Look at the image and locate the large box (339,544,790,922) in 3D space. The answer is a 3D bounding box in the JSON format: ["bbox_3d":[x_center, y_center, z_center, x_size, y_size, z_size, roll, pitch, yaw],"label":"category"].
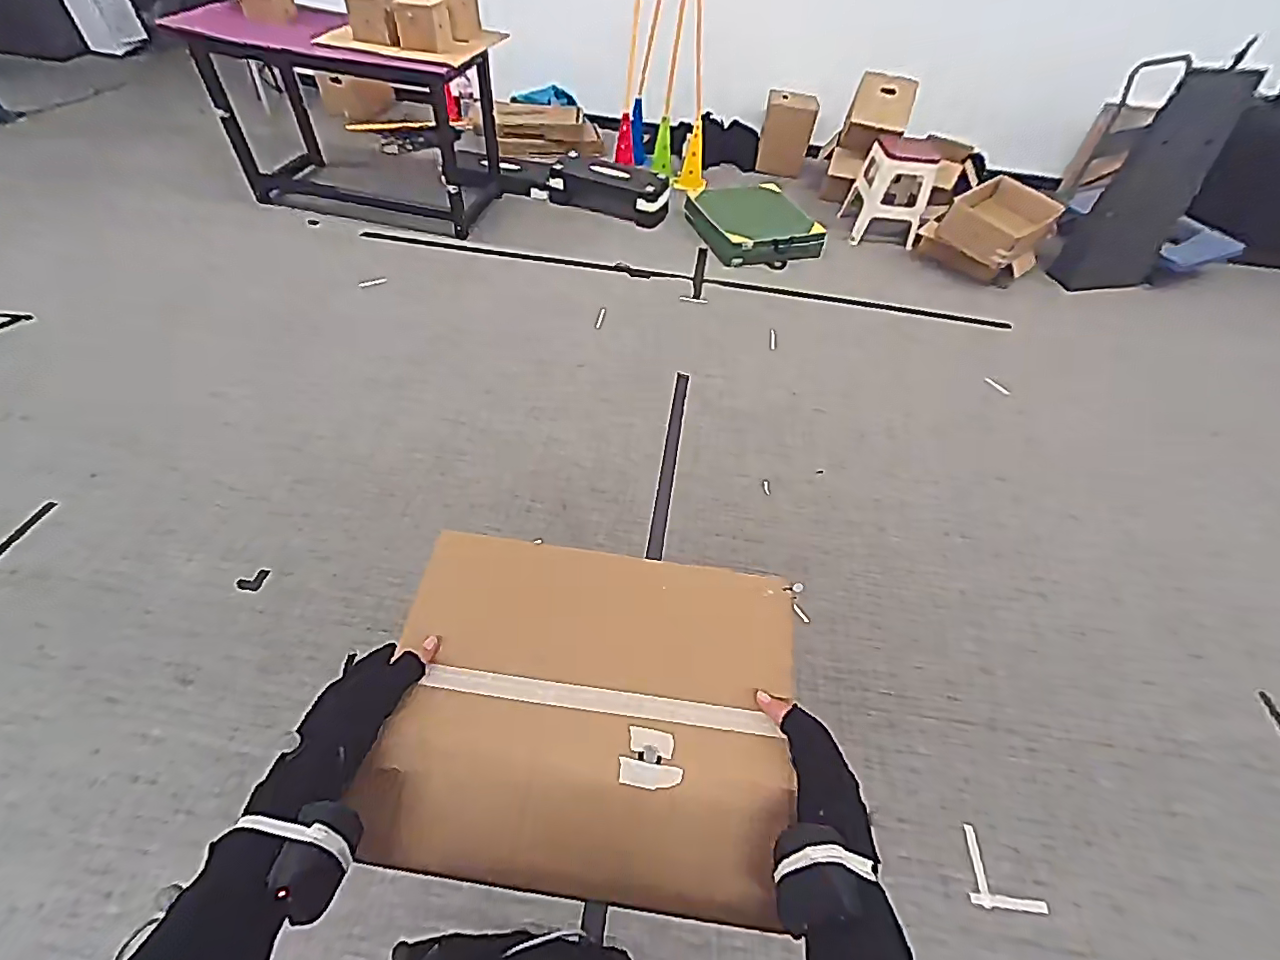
[{"bbox_3d":[-0.060,0.307,0.670,0.408,0.320,0.320,9,58,1],"label":"large box"}]
